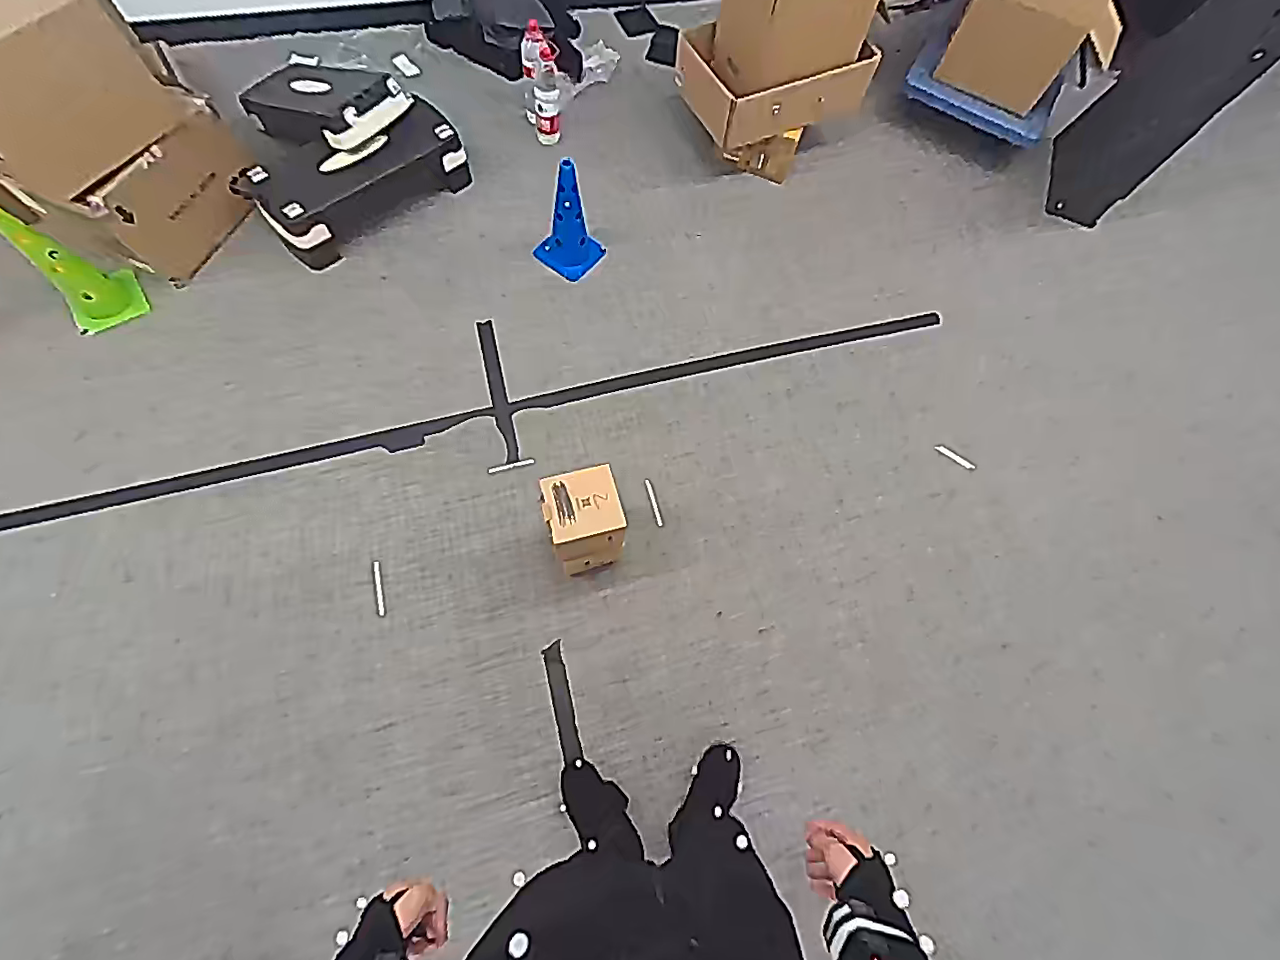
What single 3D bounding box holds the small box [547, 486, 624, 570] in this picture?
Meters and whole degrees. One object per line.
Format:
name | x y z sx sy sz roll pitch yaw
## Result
small box | -0.148 0.140 1.491 0.168 0.176 0.179 -17 71 -11
